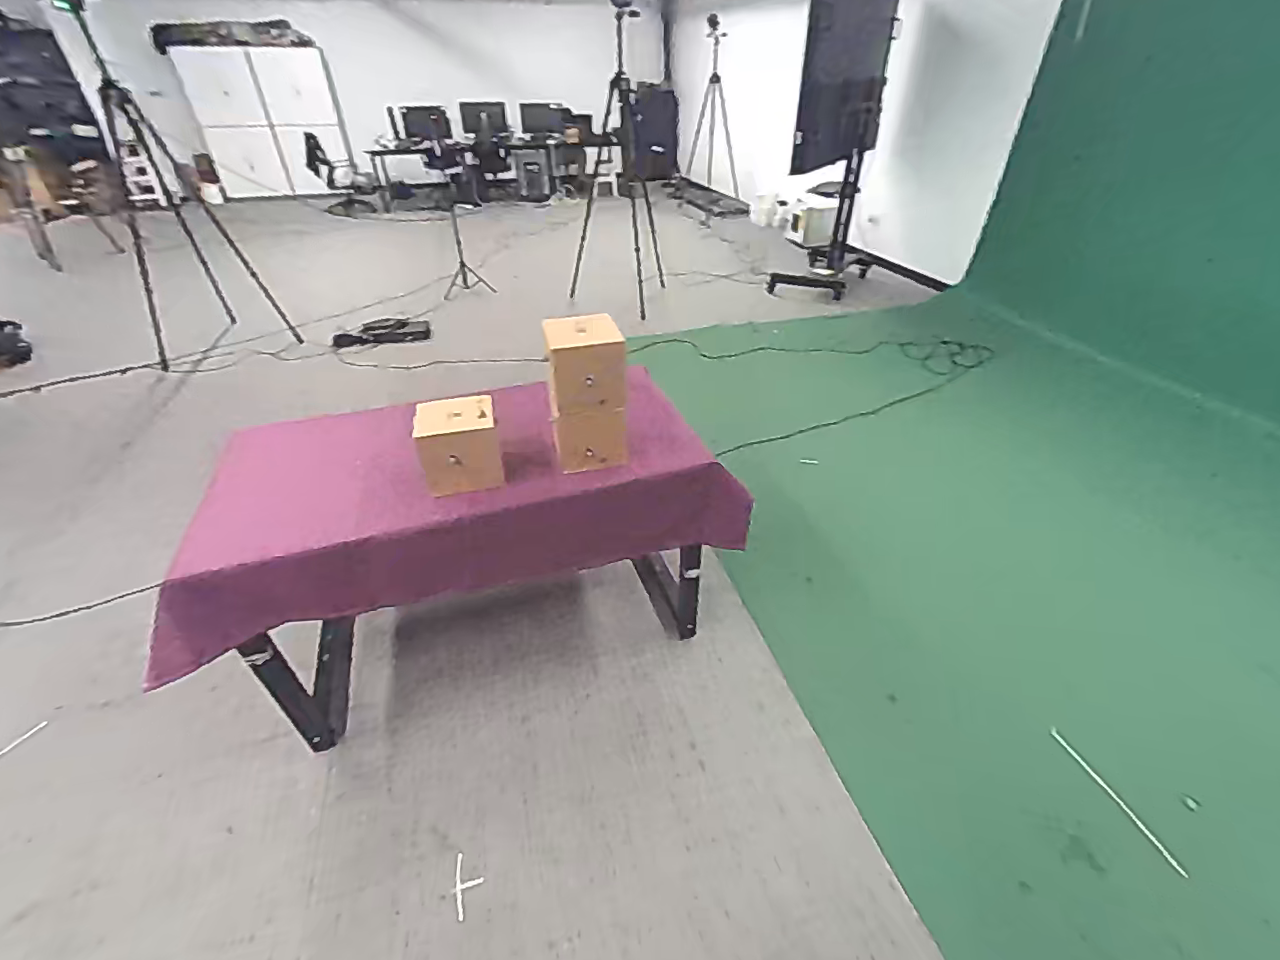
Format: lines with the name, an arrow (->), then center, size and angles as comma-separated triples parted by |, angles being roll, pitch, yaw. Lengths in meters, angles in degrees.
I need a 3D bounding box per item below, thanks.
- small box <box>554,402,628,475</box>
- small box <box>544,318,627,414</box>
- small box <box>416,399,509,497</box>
small box -> -0.128, -0.135, 1.386 | 0.168, 0.176, 0.179 | -9, 38, -11
small box -> -0.129, -0.267, 1.288 | 0.168, 0.176, 0.179 | -9, 37, -12
small box -> -0.425, -0.076, 1.311 | 0.179, 0.176, 0.168 | -10, 37, -11
